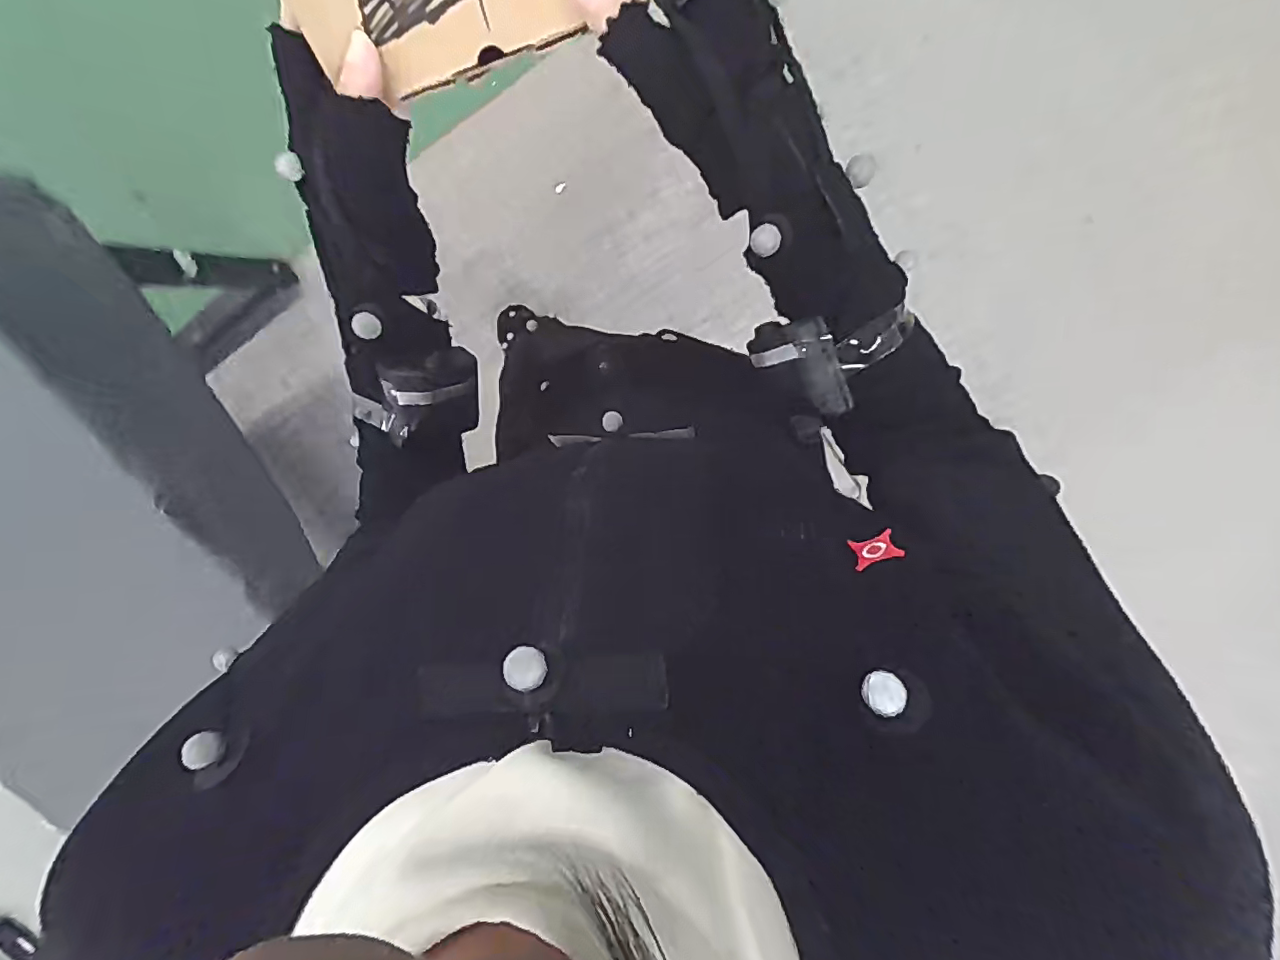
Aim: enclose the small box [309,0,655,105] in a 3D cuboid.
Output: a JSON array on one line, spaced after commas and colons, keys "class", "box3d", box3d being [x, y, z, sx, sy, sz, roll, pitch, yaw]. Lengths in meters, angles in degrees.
[{"class": "small box", "box3d": [-0.088, -0.328, 0.271, 0.168, 0.176, 0.179, -10, 133, 11]}]
